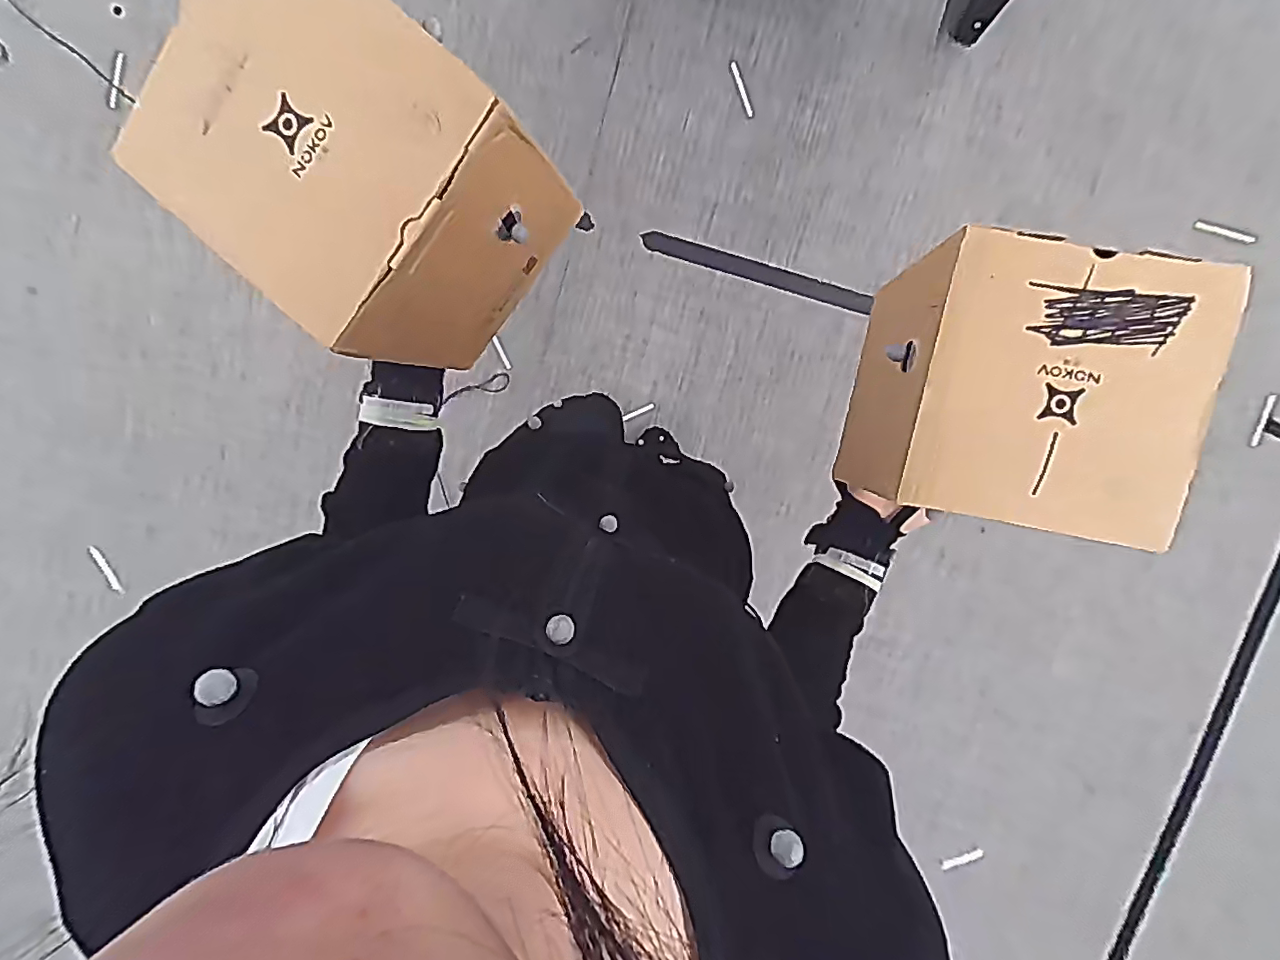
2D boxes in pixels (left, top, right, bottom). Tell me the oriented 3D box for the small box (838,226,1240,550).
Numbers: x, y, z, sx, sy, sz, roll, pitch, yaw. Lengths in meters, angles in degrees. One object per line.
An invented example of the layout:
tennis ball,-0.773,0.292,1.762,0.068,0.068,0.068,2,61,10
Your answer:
small box,0.268,-0.064,0.414,0.168,0.176,0.179,12,98,5

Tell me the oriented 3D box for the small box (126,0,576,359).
small box,-0.170,-0.200,0.373,0.179,0.176,0.168,41,101,2
